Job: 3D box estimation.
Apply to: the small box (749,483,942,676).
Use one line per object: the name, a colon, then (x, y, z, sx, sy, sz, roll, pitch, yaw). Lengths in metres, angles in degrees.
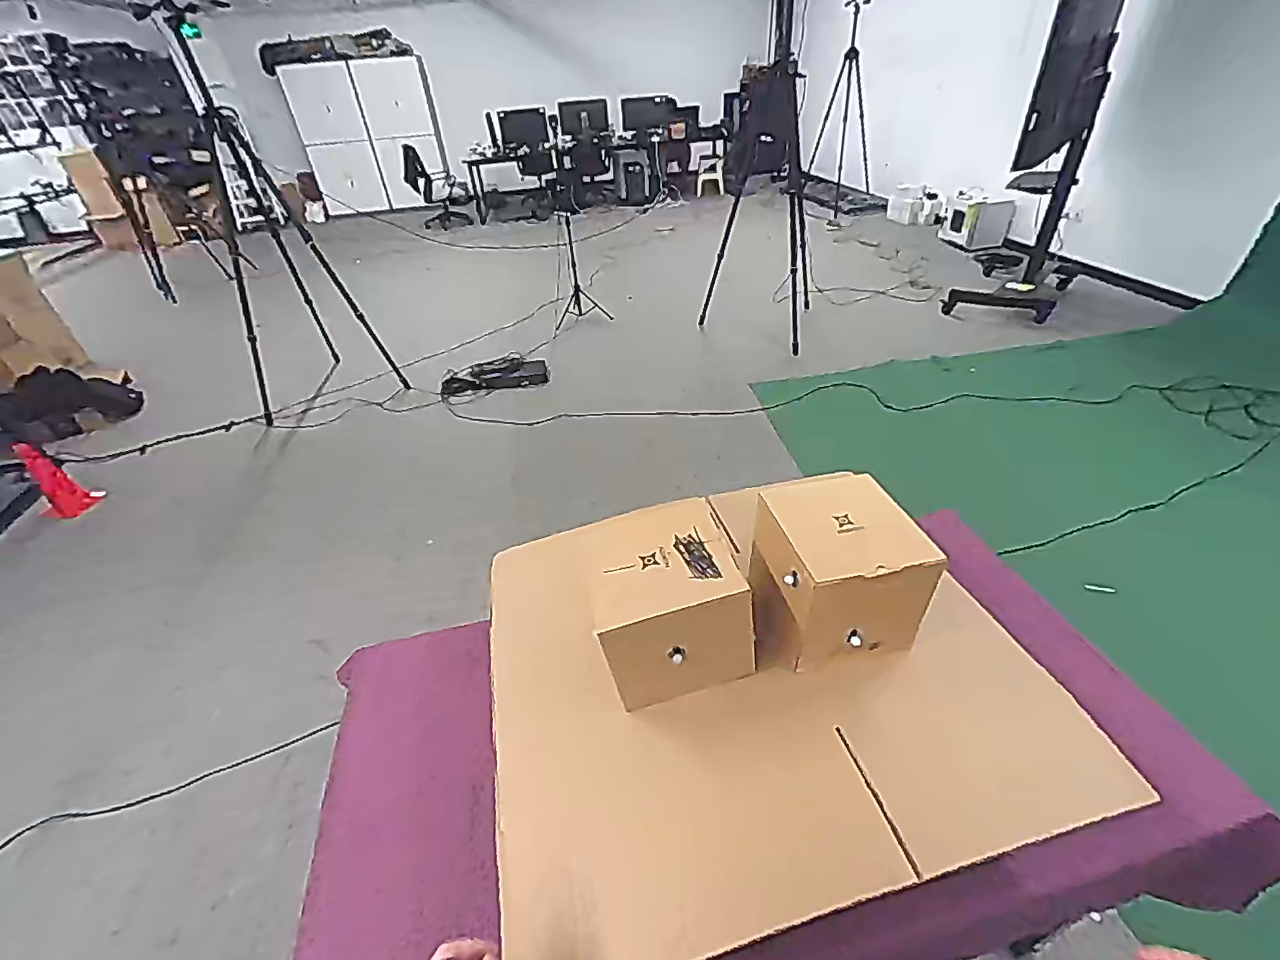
small box: (0.256, 0.129, 0.726, 0.168, 0.176, 0.179, -9, 38, -8)
